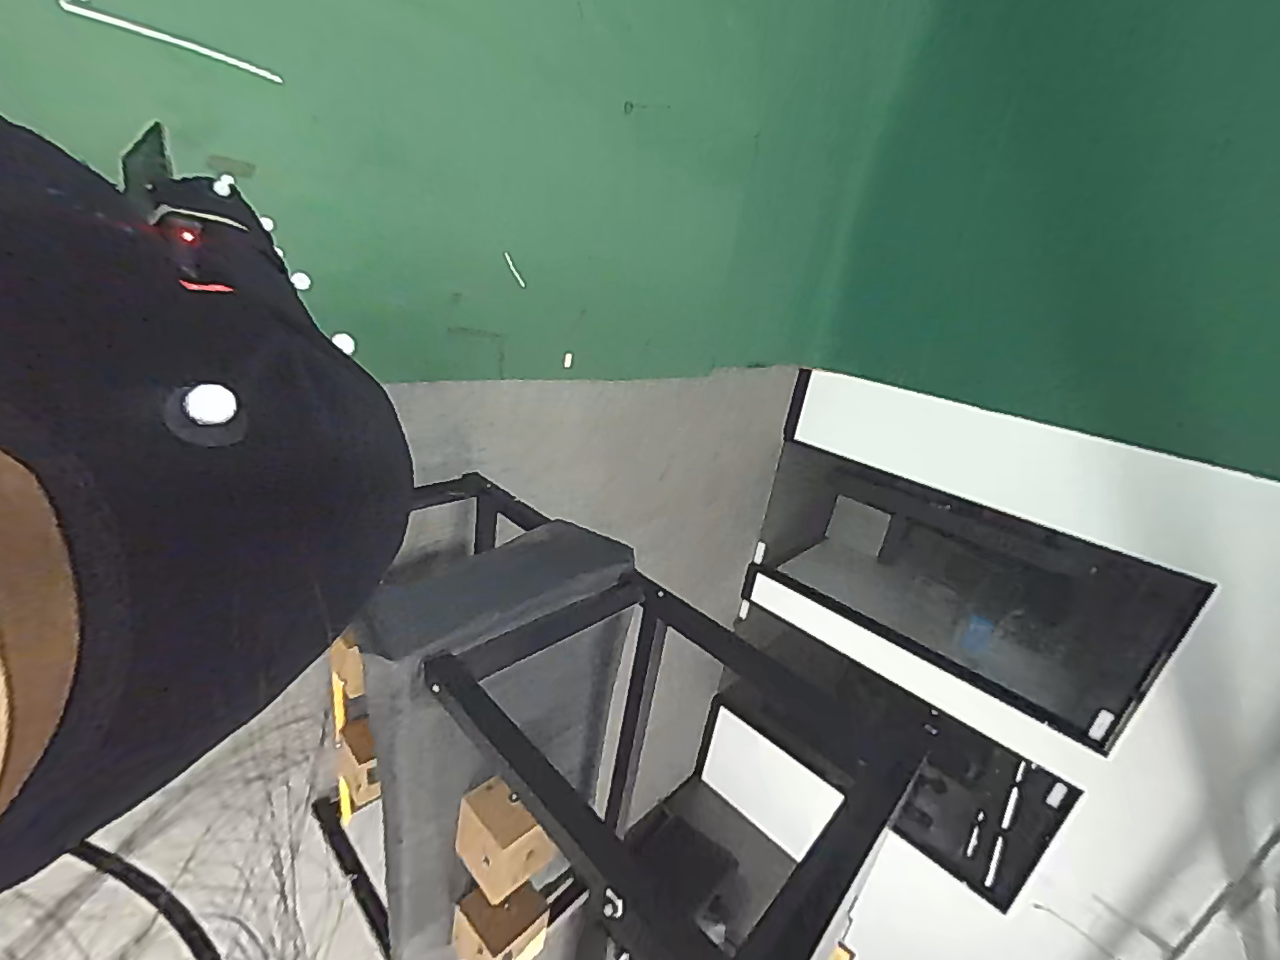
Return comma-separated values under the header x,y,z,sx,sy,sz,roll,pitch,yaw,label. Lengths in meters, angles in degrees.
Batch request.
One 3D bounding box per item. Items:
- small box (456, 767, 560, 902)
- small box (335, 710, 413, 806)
x,y,z,sx,sy,sz,roll,pitch,yaw,label
-0.312,0.810,1.263,0.168,0.176,0.179,-11,119,-48,small box
-0.840,0.865,1.699,0.179,0.176,0.168,-10,118,-48,small box
